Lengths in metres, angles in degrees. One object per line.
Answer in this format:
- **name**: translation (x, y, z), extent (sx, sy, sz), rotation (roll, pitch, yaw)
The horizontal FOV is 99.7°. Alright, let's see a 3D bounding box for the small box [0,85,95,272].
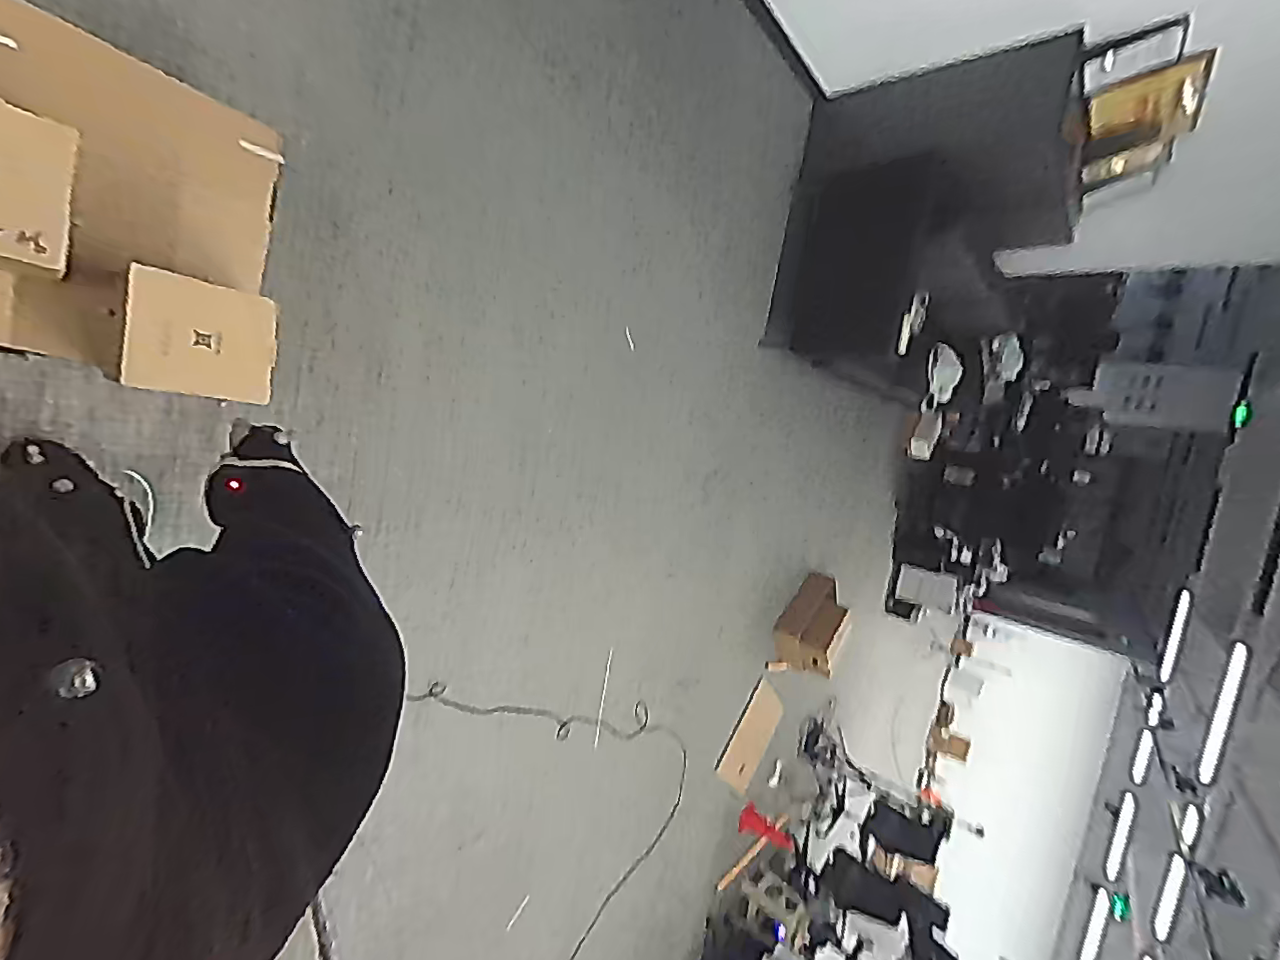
- **small box**: translation (-0.798, -0.373, 0.660), extent (0.168, 0.176, 0.179), rotation (5, 95, -50)

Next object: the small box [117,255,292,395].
- **small box**: translation (-0.677, -0.234, 0.841), extent (0.179, 0.176, 0.168), rotation (4, 97, -50)
